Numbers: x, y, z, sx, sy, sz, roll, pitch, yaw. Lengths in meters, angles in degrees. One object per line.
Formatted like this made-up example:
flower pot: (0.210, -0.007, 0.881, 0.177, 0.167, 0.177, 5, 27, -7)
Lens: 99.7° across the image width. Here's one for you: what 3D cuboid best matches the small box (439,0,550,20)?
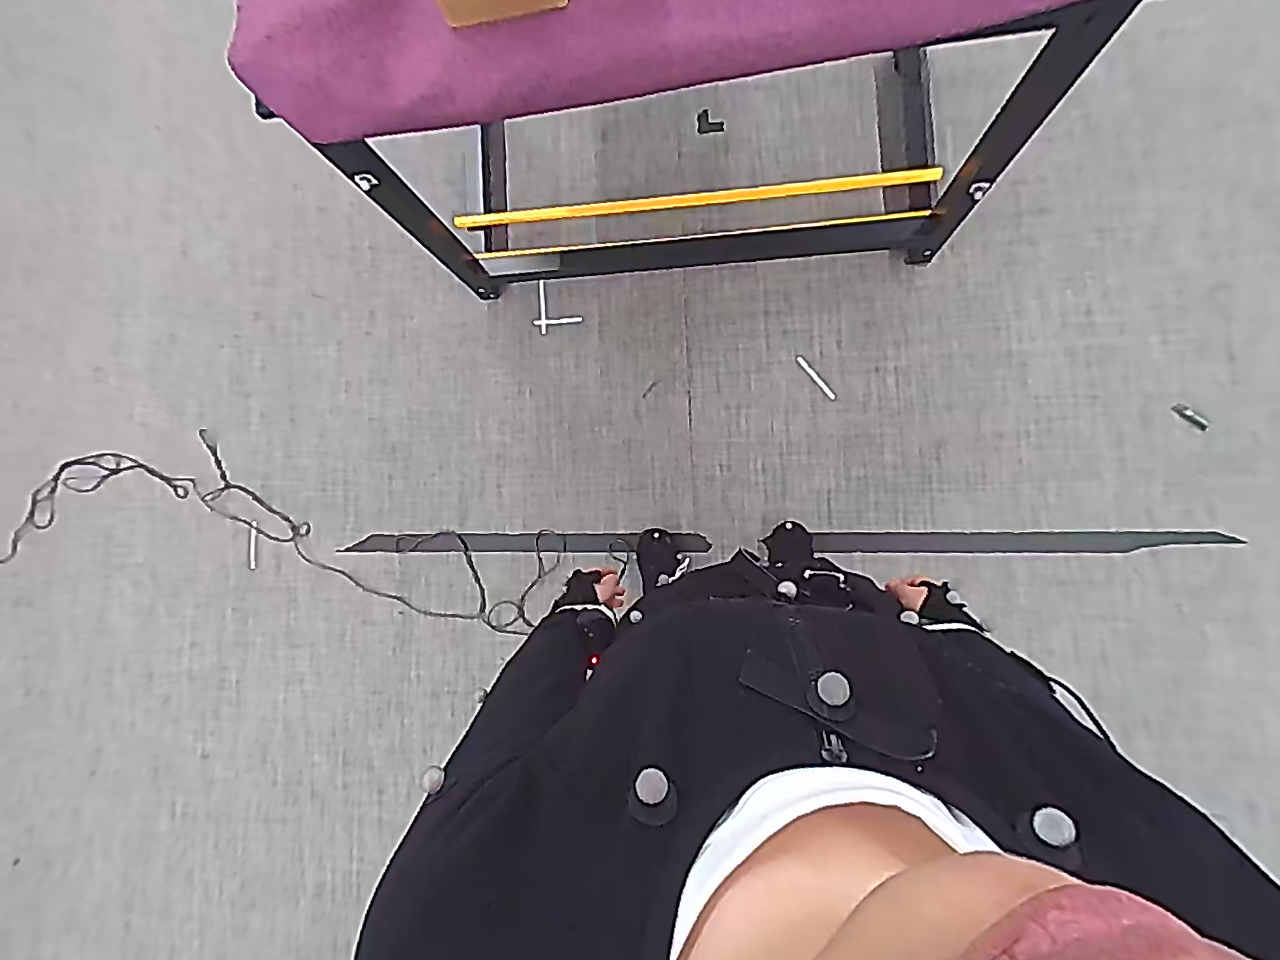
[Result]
small box: (-0.195, -0.725, 0.666, 0.179, 0.176, 0.168, -4, 86, 8)
